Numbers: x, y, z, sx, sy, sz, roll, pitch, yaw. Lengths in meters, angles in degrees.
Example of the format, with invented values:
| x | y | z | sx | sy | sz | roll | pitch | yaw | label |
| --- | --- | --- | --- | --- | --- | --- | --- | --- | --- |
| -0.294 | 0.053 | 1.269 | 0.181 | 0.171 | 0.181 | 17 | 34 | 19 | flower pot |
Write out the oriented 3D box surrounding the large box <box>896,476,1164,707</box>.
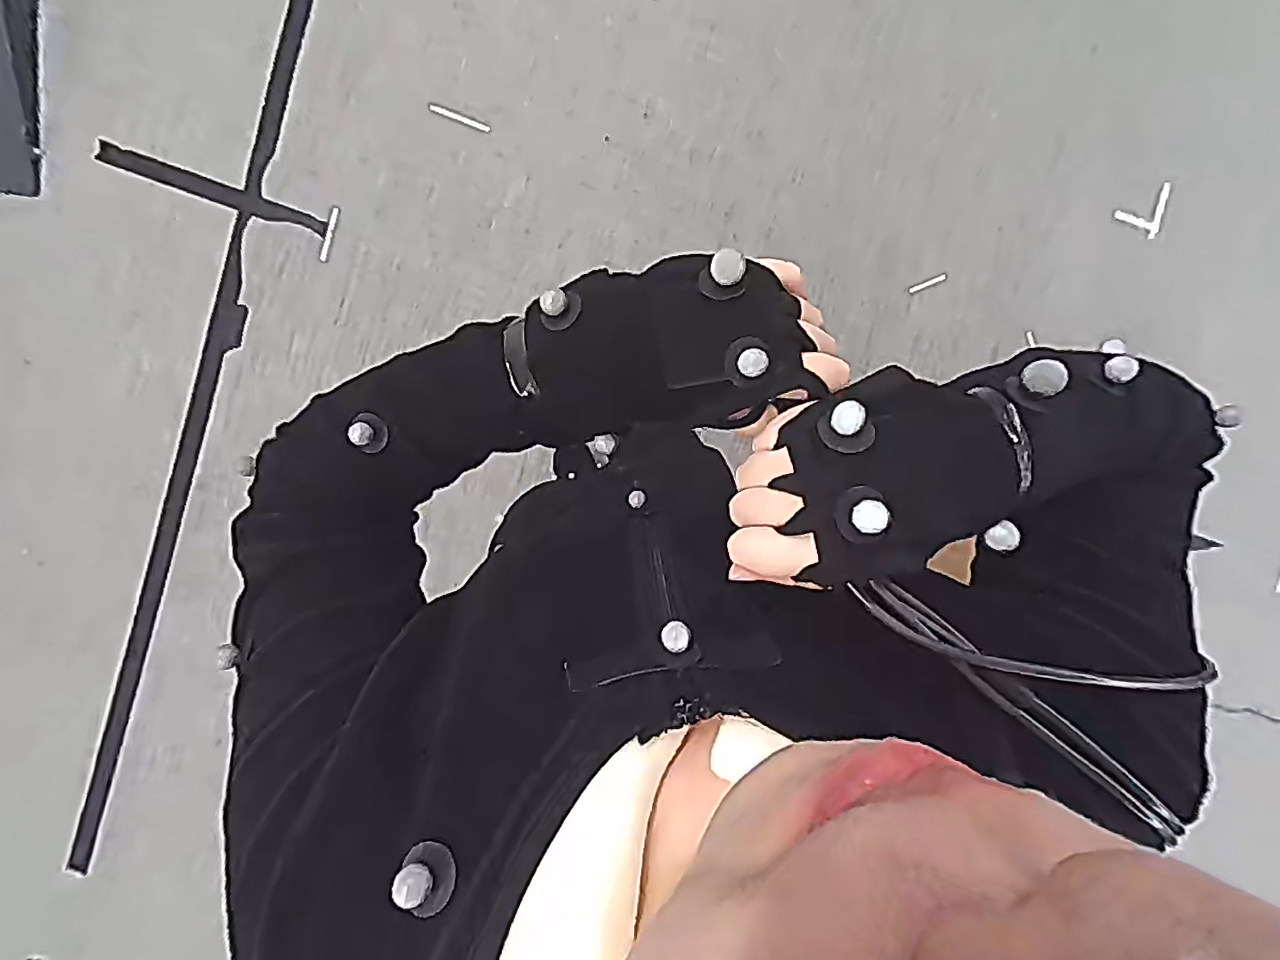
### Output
| x | y | z | sx | sy | sz | roll | pitch | yaw | label |
| --- | --- | --- | --- | --- | --- | --- | --- | --- | --- |
| 0.922 | 0.245 | 1.318 | 0.320 | 0.320 | 0.408 | -35 | 99 | -3 | large box |
